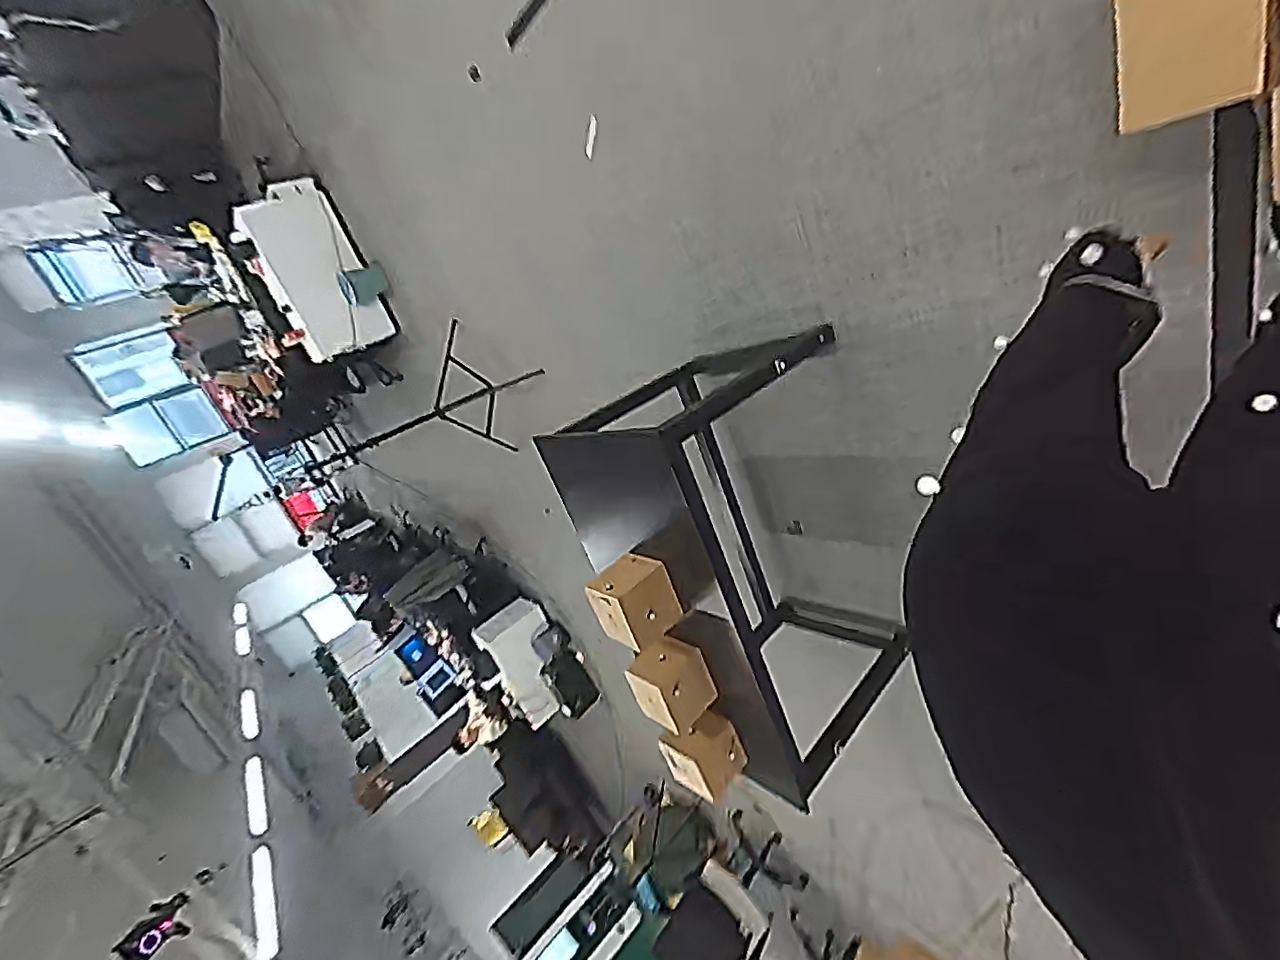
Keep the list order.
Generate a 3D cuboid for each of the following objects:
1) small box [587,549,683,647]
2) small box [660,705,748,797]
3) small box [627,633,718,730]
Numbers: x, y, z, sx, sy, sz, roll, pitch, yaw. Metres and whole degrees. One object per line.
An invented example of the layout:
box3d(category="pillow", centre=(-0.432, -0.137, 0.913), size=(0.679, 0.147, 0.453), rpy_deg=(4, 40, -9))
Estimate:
box3d(category="small box", centre=(-0.008, 0.317, 1.478), size=(0.168, 0.176, 0.179), rpy_deg=(6, 124, 52))
box3d(category="small box", centre=(0.196, 0.809, 1.651), size=(0.179, 0.176, 0.168), rpy_deg=(0, 119, 53))
box3d(category="small box", centre=(0.098, 0.575, 1.568), size=(0.168, 0.176, 0.179), rpy_deg=(3, 121, 54))
